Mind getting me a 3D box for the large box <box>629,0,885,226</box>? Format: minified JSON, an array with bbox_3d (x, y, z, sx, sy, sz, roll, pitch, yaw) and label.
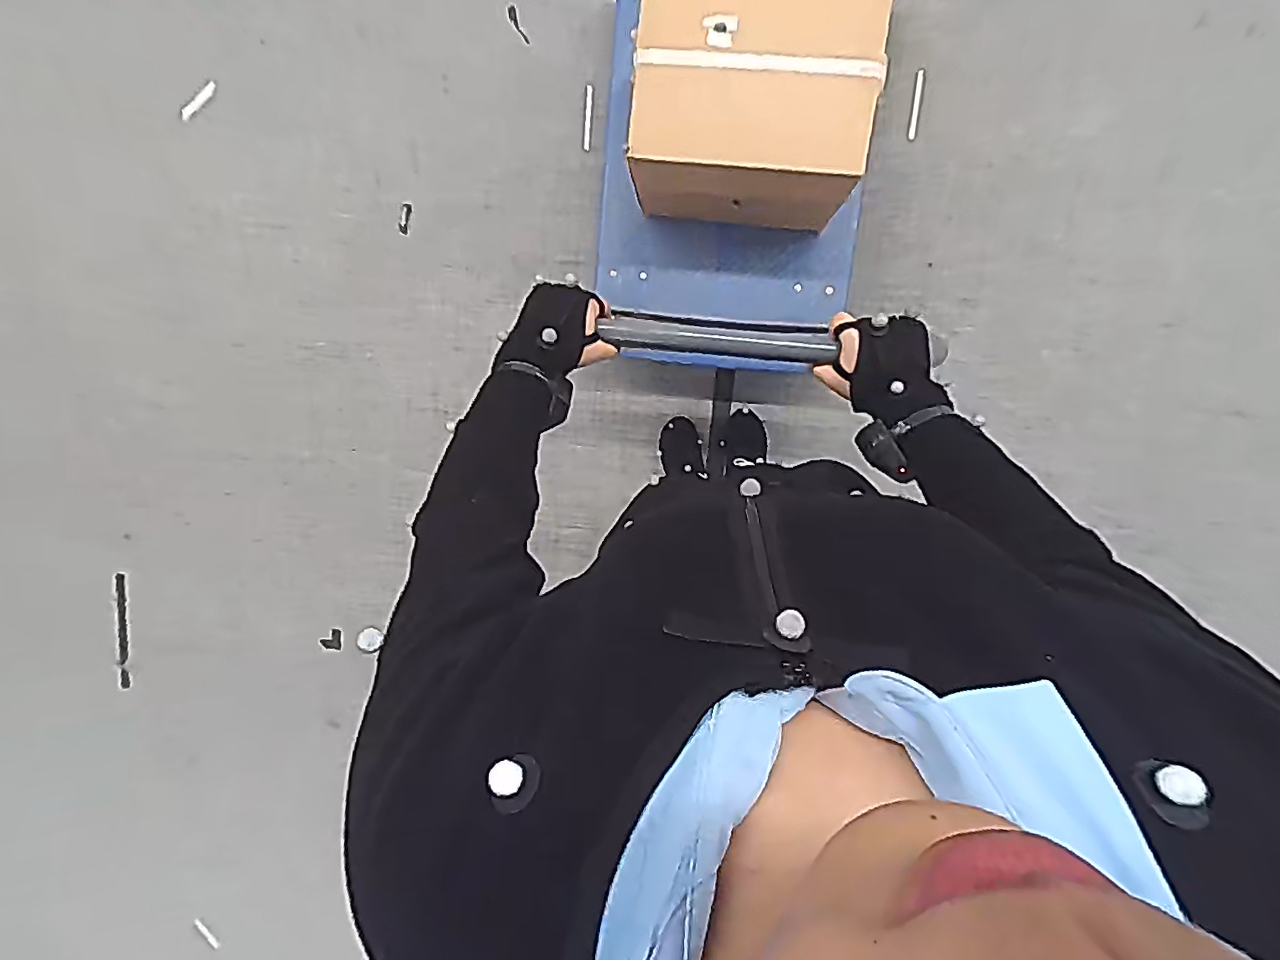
[{"bbox_3d":[0.209,-0.711,1.056,0.408,0.320,0.320,7,98,6],"label":"large box"}]
